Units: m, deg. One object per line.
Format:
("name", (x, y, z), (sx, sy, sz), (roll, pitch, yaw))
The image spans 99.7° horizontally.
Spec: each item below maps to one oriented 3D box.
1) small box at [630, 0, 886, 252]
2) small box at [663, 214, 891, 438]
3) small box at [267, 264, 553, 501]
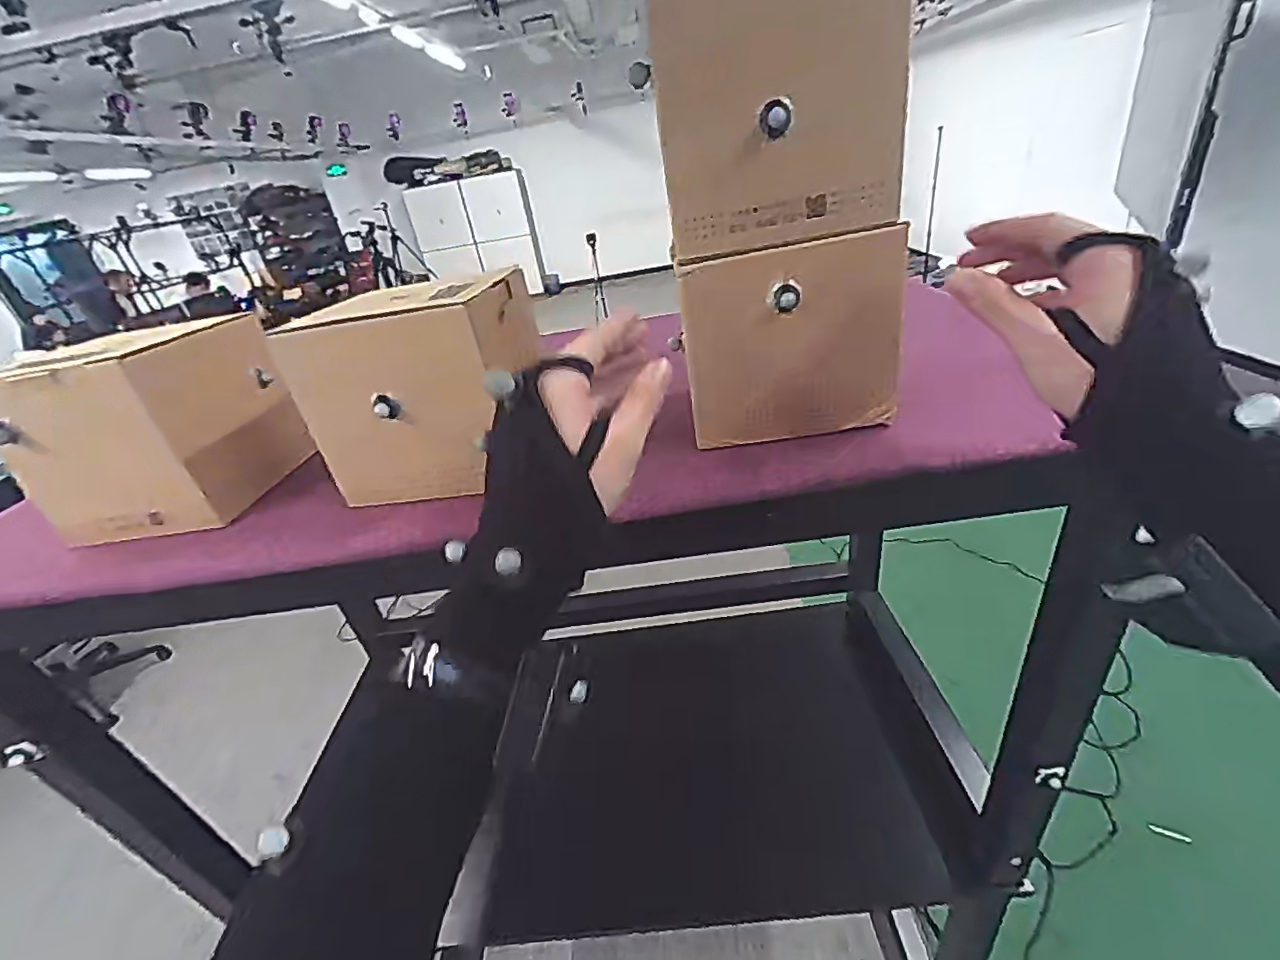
("small box", (0.092, -0.293, 0.441), (0.168, 0.176, 0.179), (-8, 30, 7))
("small box", (0.122, -0.150, 0.517), (0.179, 0.176, 0.168), (-7, 30, 8))
("small box", (-0.198, -0.096, 0.530), (0.179, 0.176, 0.168), (-7, 29, 9))
